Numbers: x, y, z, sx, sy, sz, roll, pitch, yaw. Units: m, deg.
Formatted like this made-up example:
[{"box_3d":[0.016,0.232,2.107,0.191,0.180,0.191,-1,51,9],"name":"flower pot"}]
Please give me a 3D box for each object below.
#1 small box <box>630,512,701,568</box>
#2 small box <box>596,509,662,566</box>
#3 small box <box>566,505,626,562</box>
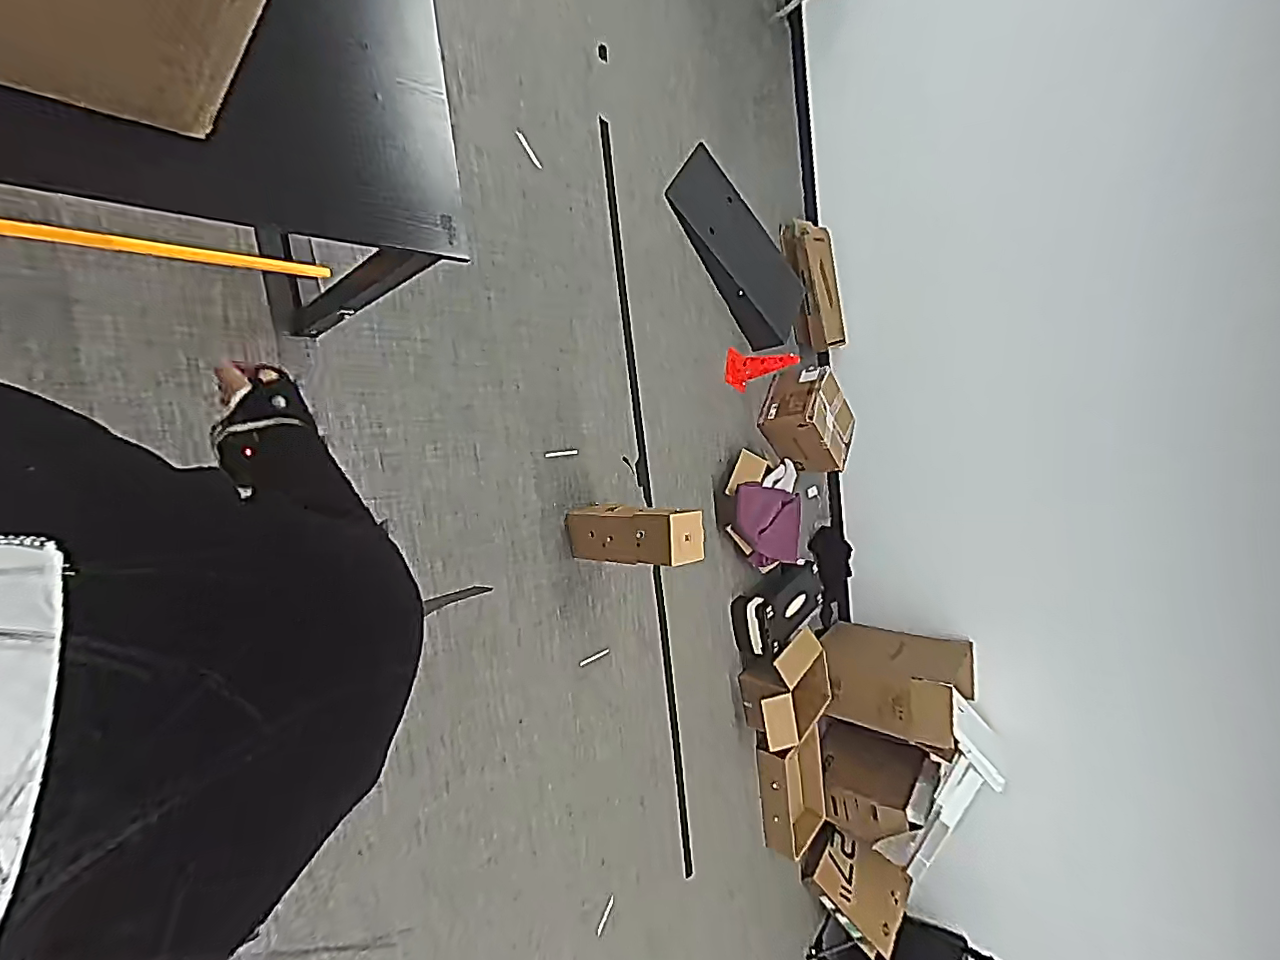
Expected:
[{"box_3d":[0.085,0.193,1.791,0.179,0.176,0.168,-3,90,-47],"name":"small box"},{"box_3d":[-0.032,0.197,1.904,0.179,0.176,0.168,-11,97,-48],"name":"small box"},{"box_3d":[-0.156,0.196,2.012,0.168,0.176,0.179,-17,102,-47],"name":"small box"}]
